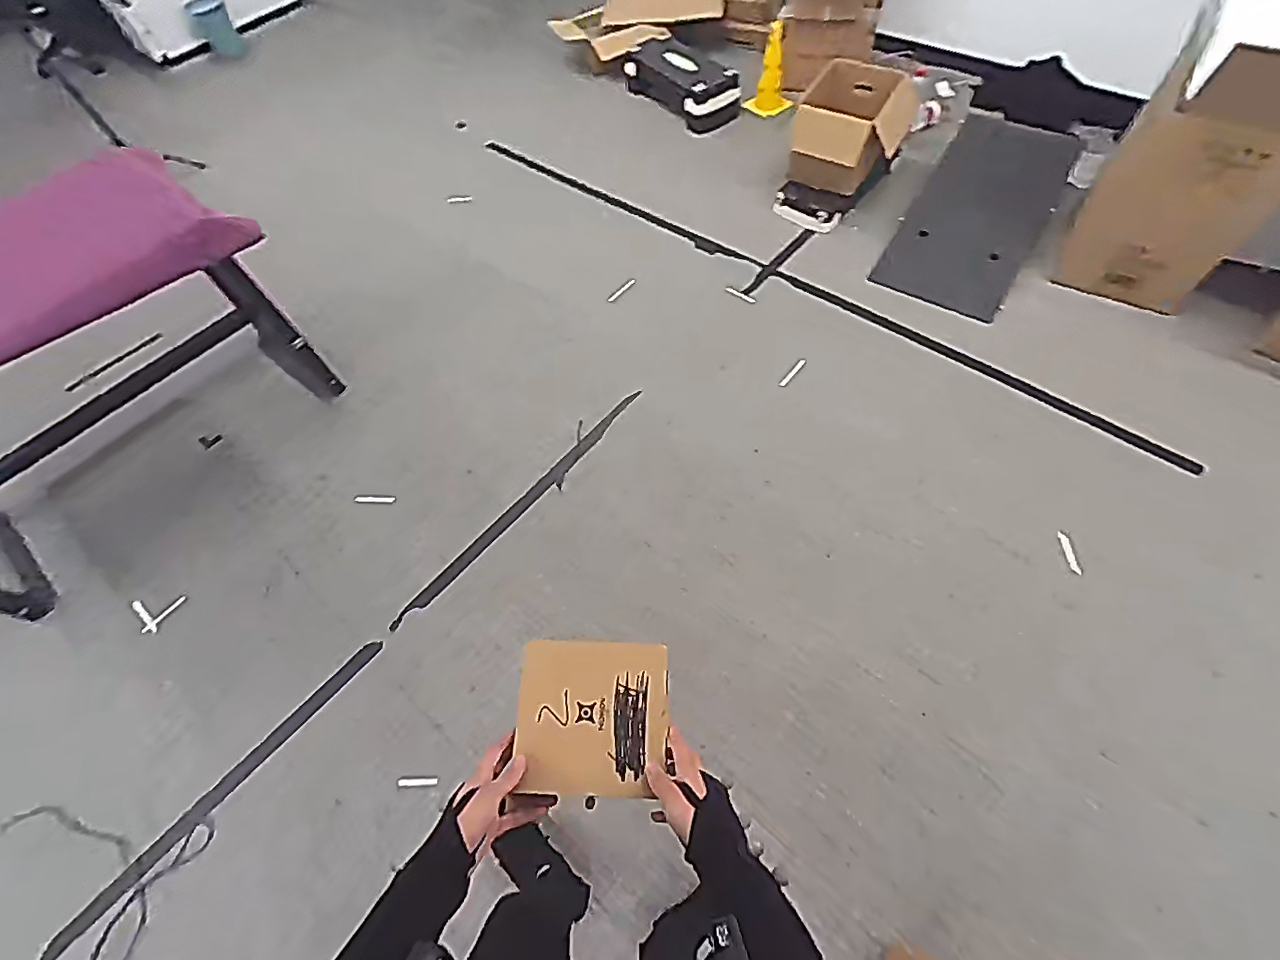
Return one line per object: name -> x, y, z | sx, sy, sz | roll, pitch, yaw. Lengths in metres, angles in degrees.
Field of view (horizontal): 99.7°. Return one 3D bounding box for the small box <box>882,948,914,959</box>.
small box -> 0.572, 1.086, 1.072 | 0.179, 0.176, 0.168 | 30, 66, 19
